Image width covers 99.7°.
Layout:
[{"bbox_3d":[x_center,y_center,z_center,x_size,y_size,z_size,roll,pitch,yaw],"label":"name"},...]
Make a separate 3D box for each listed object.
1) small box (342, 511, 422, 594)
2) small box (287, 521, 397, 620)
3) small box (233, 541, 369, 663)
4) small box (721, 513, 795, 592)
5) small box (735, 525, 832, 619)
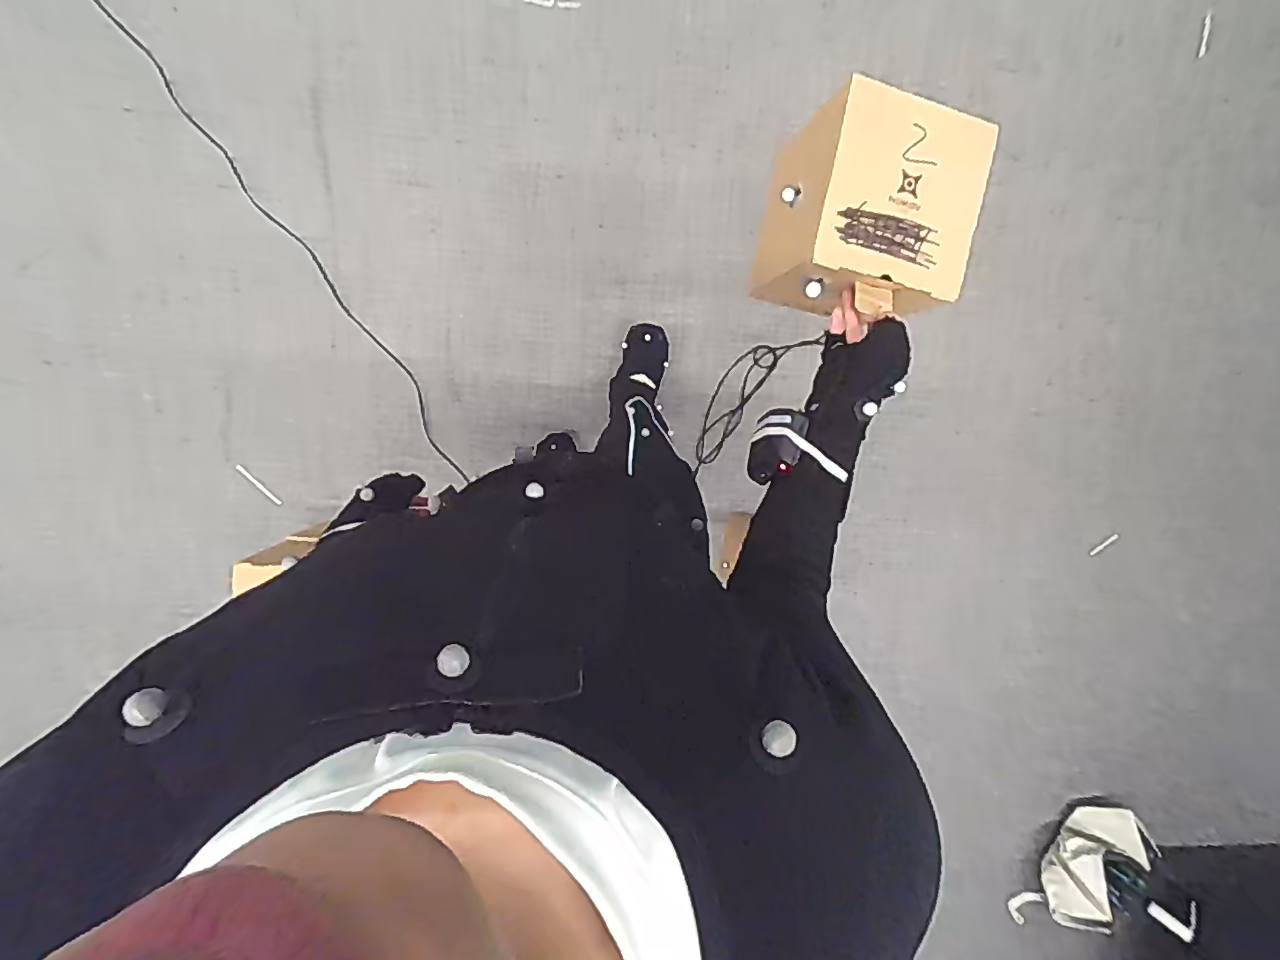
[{"bbox_3d":[-0.660,0.177,1.360,0.179,0.176,0.168,5,97,-6],"label":"small box"},{"bbox_3d":[-0.653,0.197,1.197,0.168,0.176,0.179,6,96,-6],"label":"small box"},{"bbox_3d":[-0.640,0.227,1.037,0.168,0.176,0.179,5,97,-5],"label":"small box"},{"bbox_3d":[0.322,0.199,1.444,0.168,0.176,0.179,9,97,-7],"label":"small box"},{"bbox_3d":[0.335,0.213,1.297,0.168,0.176,0.179,6,98,-7],"label":"small box"}]
